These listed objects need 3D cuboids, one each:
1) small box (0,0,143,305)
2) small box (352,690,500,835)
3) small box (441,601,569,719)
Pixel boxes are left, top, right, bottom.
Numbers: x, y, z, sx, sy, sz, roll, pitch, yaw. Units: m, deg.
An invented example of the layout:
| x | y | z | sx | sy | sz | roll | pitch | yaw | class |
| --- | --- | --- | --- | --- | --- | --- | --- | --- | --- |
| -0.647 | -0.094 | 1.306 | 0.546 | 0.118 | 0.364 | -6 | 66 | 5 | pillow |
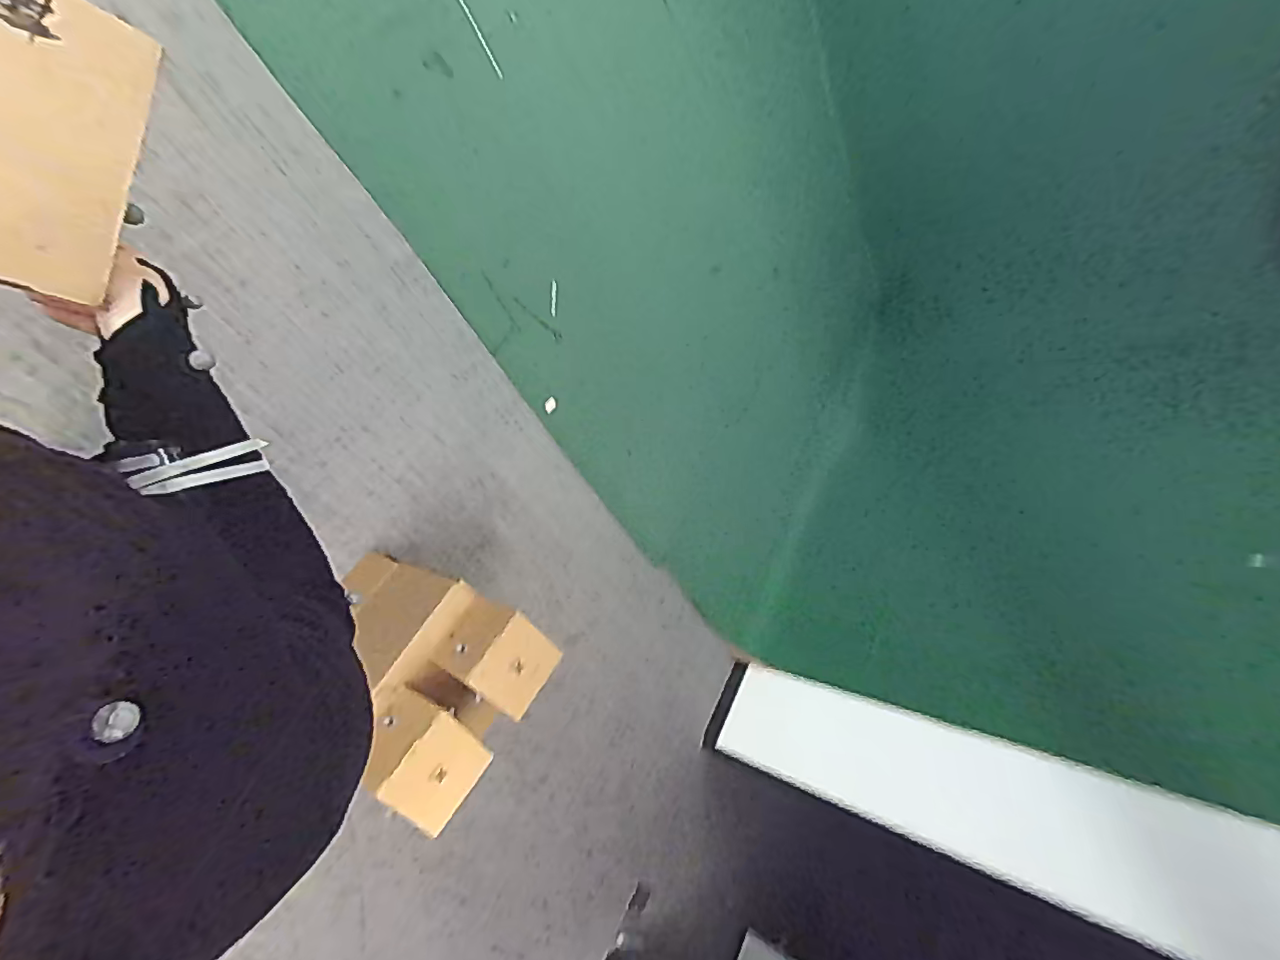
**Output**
| x | y | z | sx | sy | sz | roll | pitch | yaw | class |
| --- | --- | --- | --- | --- | --- | --- | --- | --- | --- |
| -0.439 | -0.228 | 0.334 | 0.168 | 0.176 | 0.179 | 10 | 99 | -49 | small box |
| -0.418 | 0.542 | 1.060 | 0.168 | 0.176 | 0.179 | -51 | 127 | -33 | small box |
| -0.298 | 0.382 | 1.182 | 0.168 | 0.176 | 0.179 | -54 | 128 | -28 | small box |
